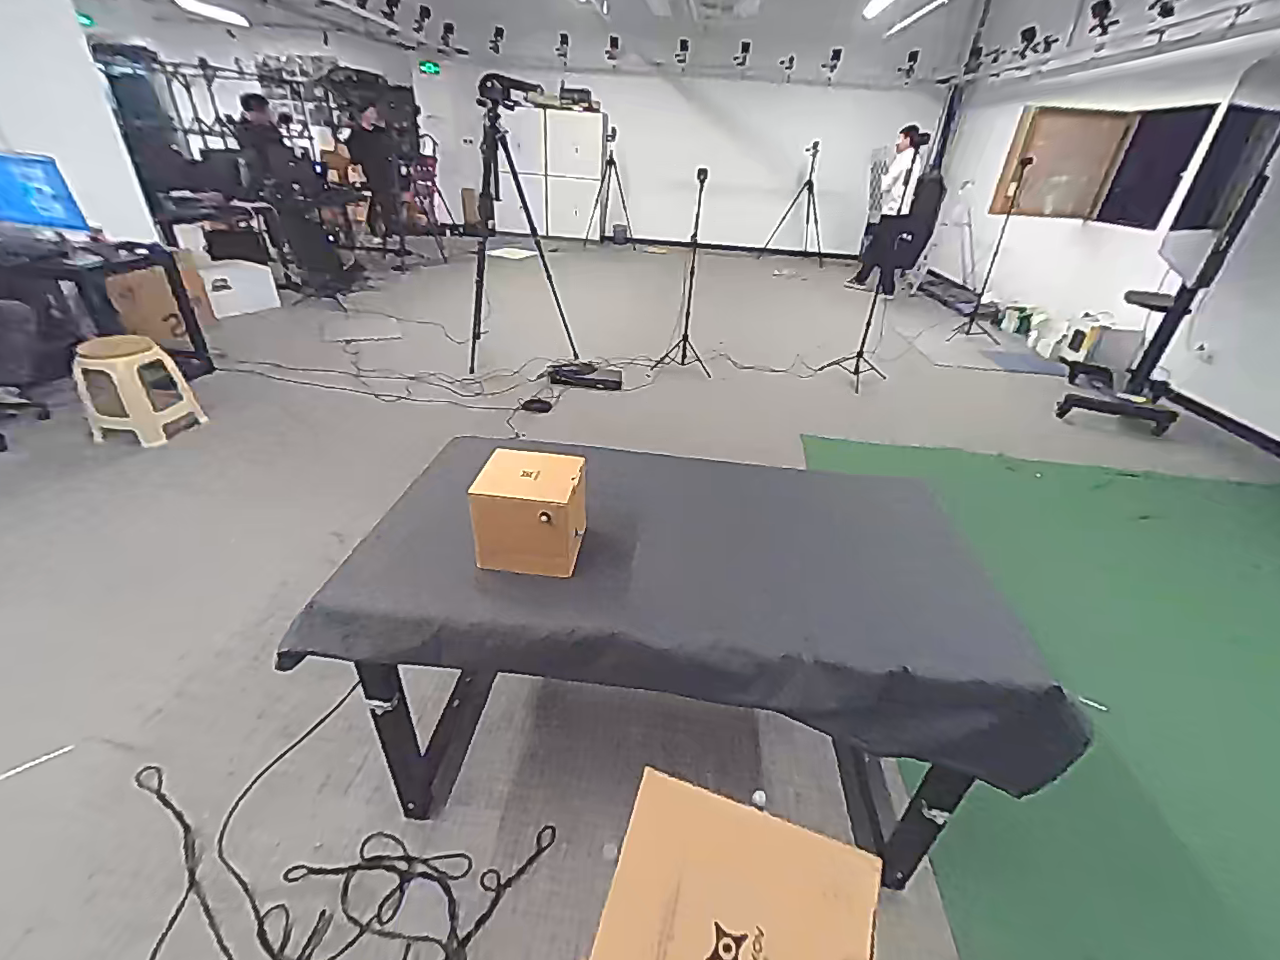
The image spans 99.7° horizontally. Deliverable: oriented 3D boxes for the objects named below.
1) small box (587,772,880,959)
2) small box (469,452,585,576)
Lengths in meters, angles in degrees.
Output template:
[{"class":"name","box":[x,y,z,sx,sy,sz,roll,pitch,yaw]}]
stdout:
[{"class":"small box","box":[0.061,0.345,0.417,0.179,0.176,0.168,14,60,12]},{"class":"small box","box":[-0.203,0.063,1.018,0.179,0.176,0.168,6,31,2]}]
